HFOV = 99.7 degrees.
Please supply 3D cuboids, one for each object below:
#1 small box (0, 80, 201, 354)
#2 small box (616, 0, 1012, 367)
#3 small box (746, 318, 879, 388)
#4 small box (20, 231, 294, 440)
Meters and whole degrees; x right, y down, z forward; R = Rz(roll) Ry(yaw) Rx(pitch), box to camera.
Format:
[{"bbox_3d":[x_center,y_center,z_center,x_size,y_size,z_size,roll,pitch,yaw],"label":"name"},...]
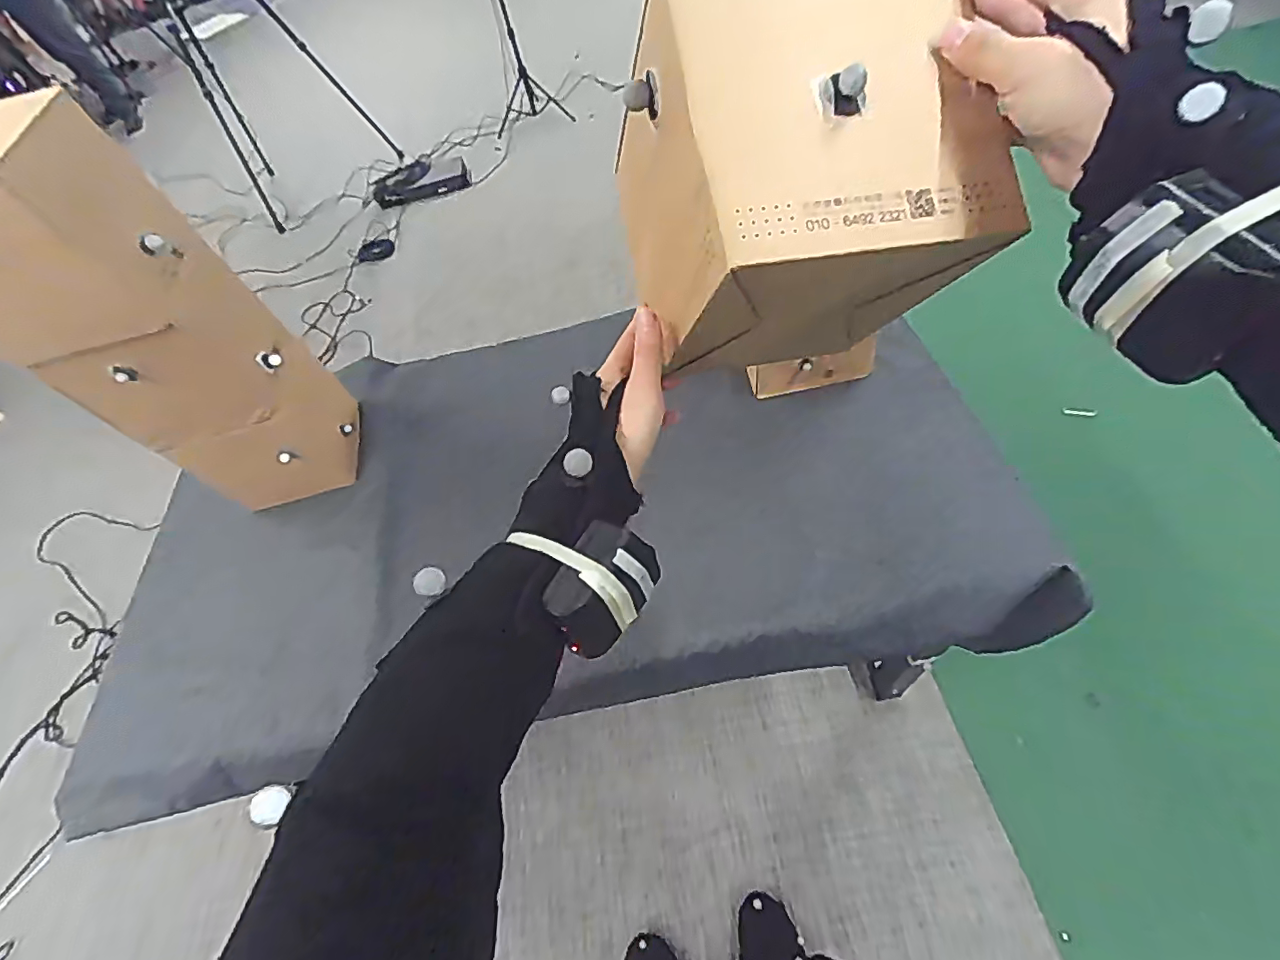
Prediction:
[{"bbox_3d":[-0.605,-0.252,0.541,0.179,0.176,0.168,-14,59,1],"label":"small box"},{"bbox_3d":[0.088,-0.185,0.343,0.168,0.179,0.176,-10,87,-10],"label":"small box"},{"bbox_3d":[0.228,-0.260,0.771,0.168,0.176,0.179,-11,58,5],"label":"small box"},{"bbox_3d":[-0.585,-0.174,0.685,0.179,0.176,0.168,-16,59,0],"label":"small box"}]
